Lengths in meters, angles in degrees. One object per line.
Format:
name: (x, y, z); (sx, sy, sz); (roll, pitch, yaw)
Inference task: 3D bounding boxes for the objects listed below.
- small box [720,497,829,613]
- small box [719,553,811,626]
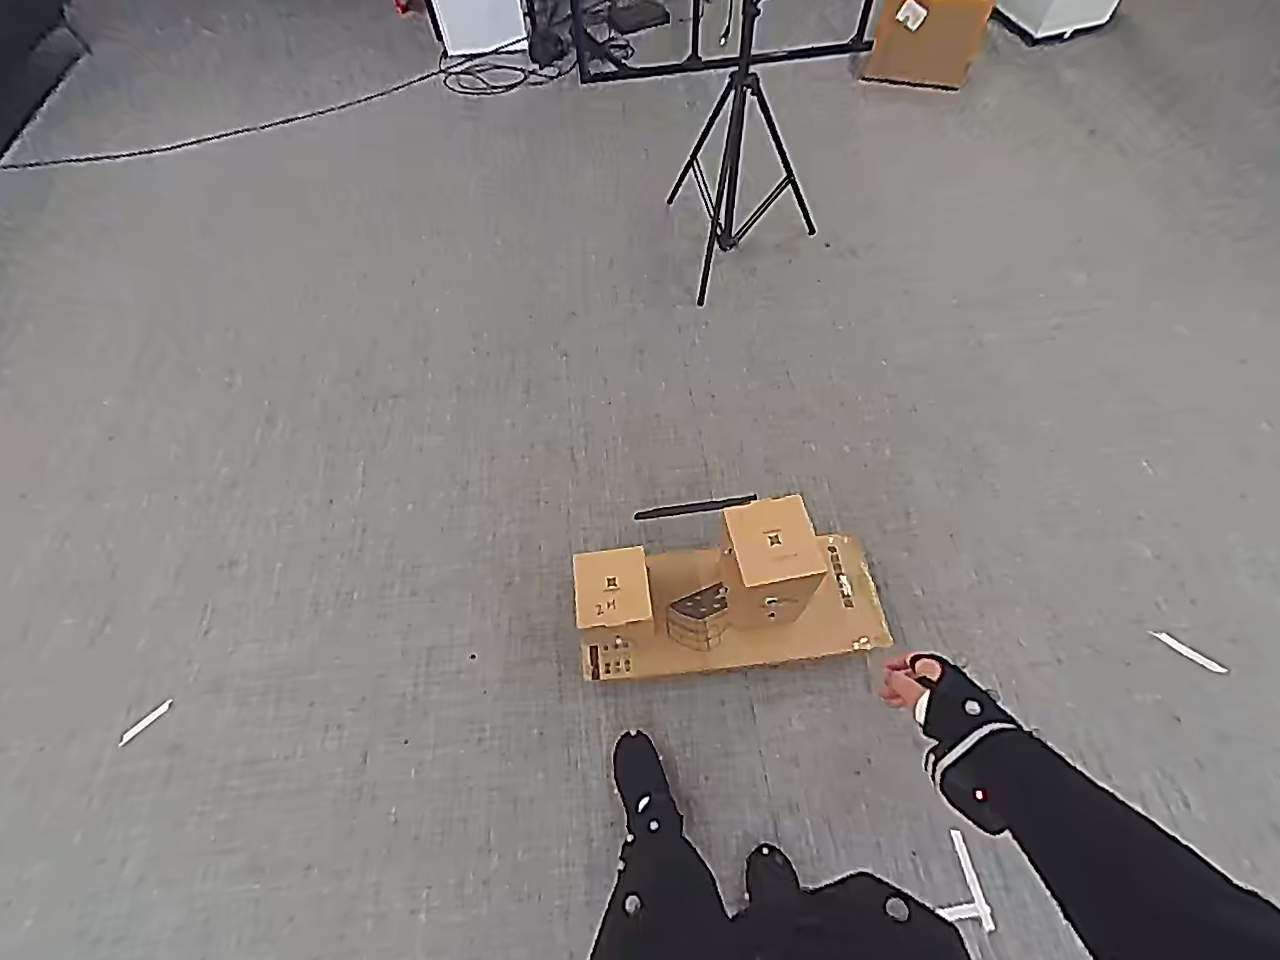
small box: (0.271, 0.161, 1.139); (0.168, 0.176, 0.179); (-11, 61, -2)
small box: (0.288, 0.240, 1.281); (0.168, 0.176, 0.179); (-8, 61, -2)
